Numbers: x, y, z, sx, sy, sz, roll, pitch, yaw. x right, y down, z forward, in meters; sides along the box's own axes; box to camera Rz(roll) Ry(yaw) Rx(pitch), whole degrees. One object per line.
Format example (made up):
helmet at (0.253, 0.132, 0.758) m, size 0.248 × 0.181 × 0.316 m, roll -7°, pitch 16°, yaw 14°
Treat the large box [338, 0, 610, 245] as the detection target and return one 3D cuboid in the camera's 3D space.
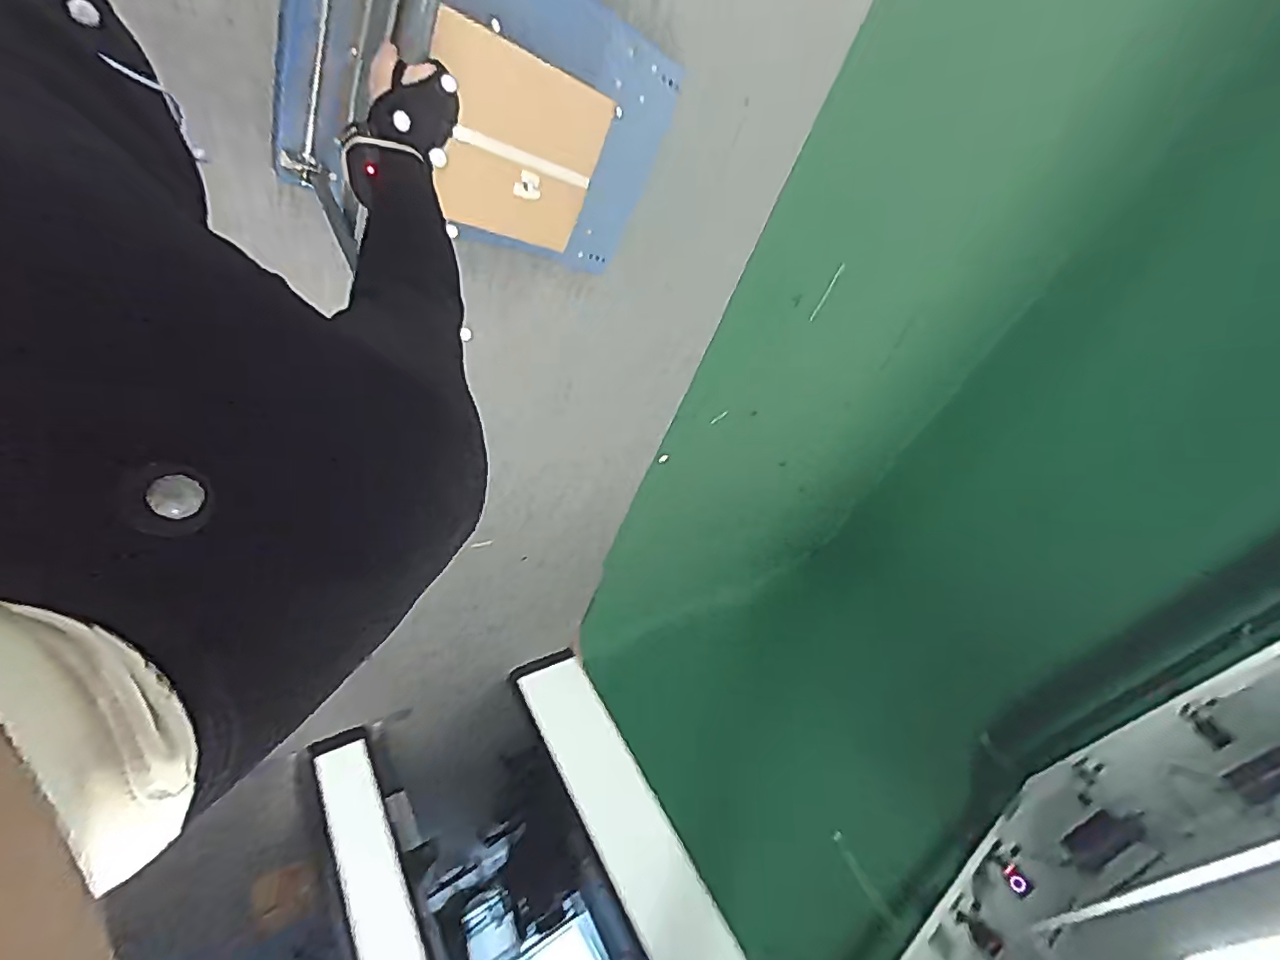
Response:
large box at (-0.347, -0.732, 1.099) m, size 0.408 × 0.320 × 0.320 m, roll -4°, pitch 135°, yaw -43°
